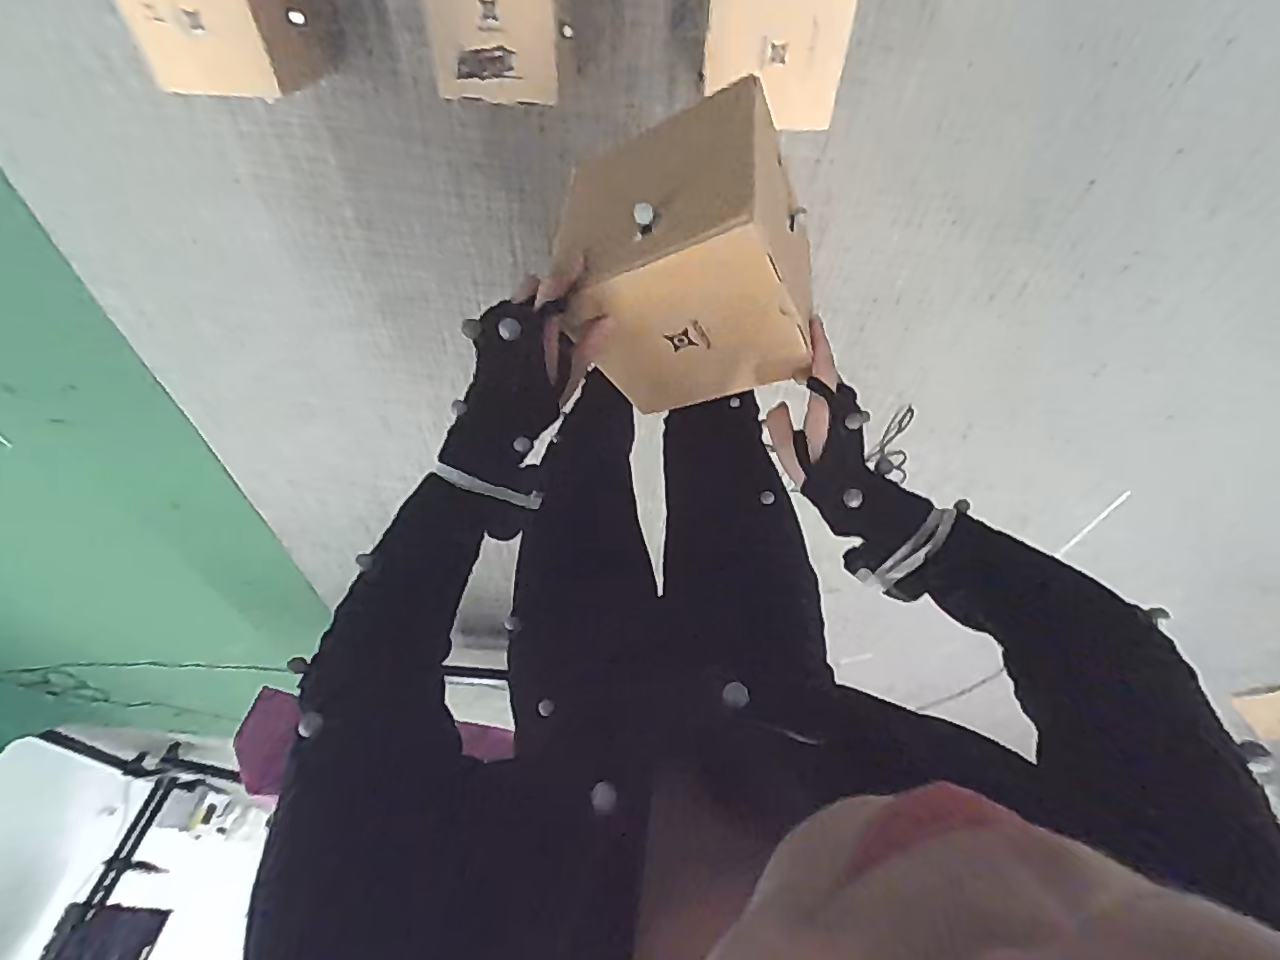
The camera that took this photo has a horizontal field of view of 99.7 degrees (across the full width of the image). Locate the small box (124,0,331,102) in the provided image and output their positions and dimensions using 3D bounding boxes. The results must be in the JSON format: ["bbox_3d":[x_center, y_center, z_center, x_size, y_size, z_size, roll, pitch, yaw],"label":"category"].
[{"bbox_3d":[-0.569,-0.654,0.759,0.179,0.176,0.168,5,137,2],"label":"small box"}]

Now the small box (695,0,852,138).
[{"bbox_3d":[0.170,-0.589,0.738,0.179,0.176,0.168,3,138,3],"label":"small box"}]

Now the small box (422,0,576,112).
[{"bbox_3d":[-0.182,-0.631,0.734,0.168,0.176,0.179,5,137,1],"label":"small box"}]

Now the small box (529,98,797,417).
[{"bbox_3d":[0.032,-0.184,0.483,0.179,0.176,0.168,-11,149,29],"label":"small box"}]
